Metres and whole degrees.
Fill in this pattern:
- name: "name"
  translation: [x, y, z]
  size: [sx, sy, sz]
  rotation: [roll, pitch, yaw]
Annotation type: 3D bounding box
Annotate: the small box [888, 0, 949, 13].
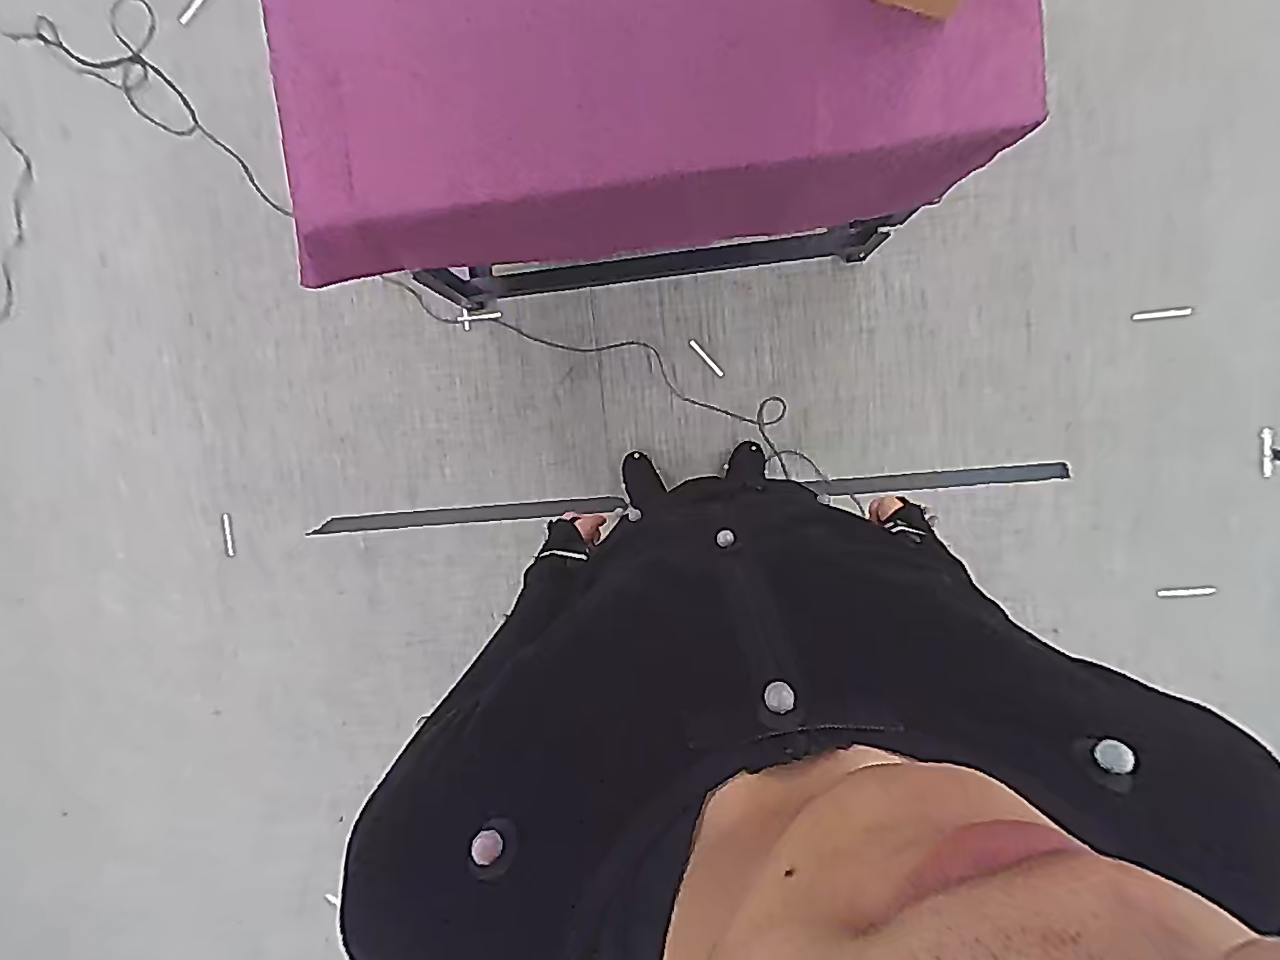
- name: "small box"
  translation: [0.404, -0.799, 0.739]
  size: [0.179, 0.176, 0.168]
  rotation: [20, 96, 2]
